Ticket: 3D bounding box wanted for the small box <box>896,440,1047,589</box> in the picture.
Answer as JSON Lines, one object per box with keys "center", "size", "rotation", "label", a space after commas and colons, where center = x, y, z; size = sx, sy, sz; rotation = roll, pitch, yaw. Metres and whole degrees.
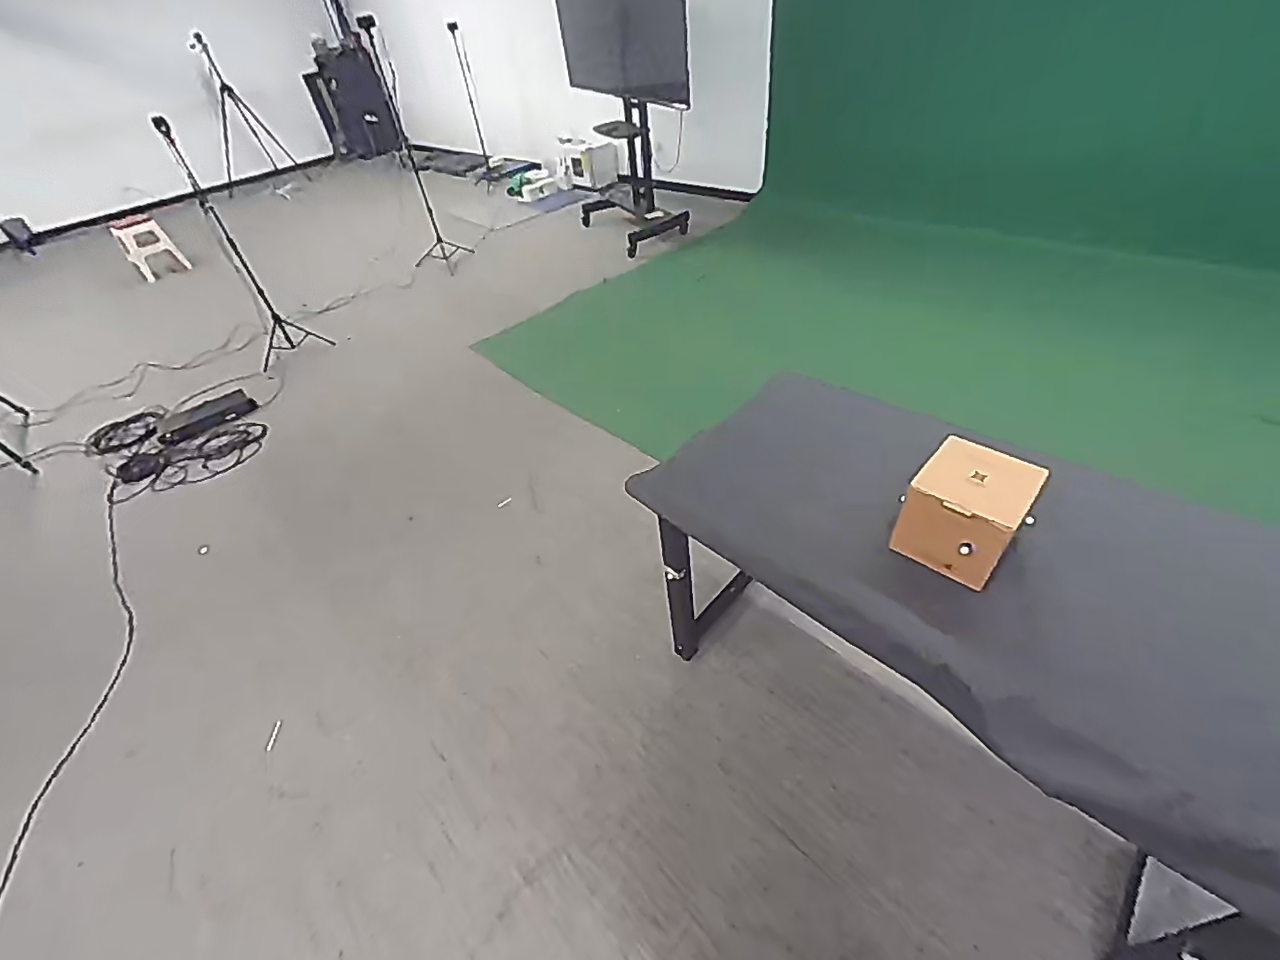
{"center": [0.589, 0.064, 0.981], "size": [0.168, 0.176, 0.179], "rotation": [31, 54, 33], "label": "small box"}
